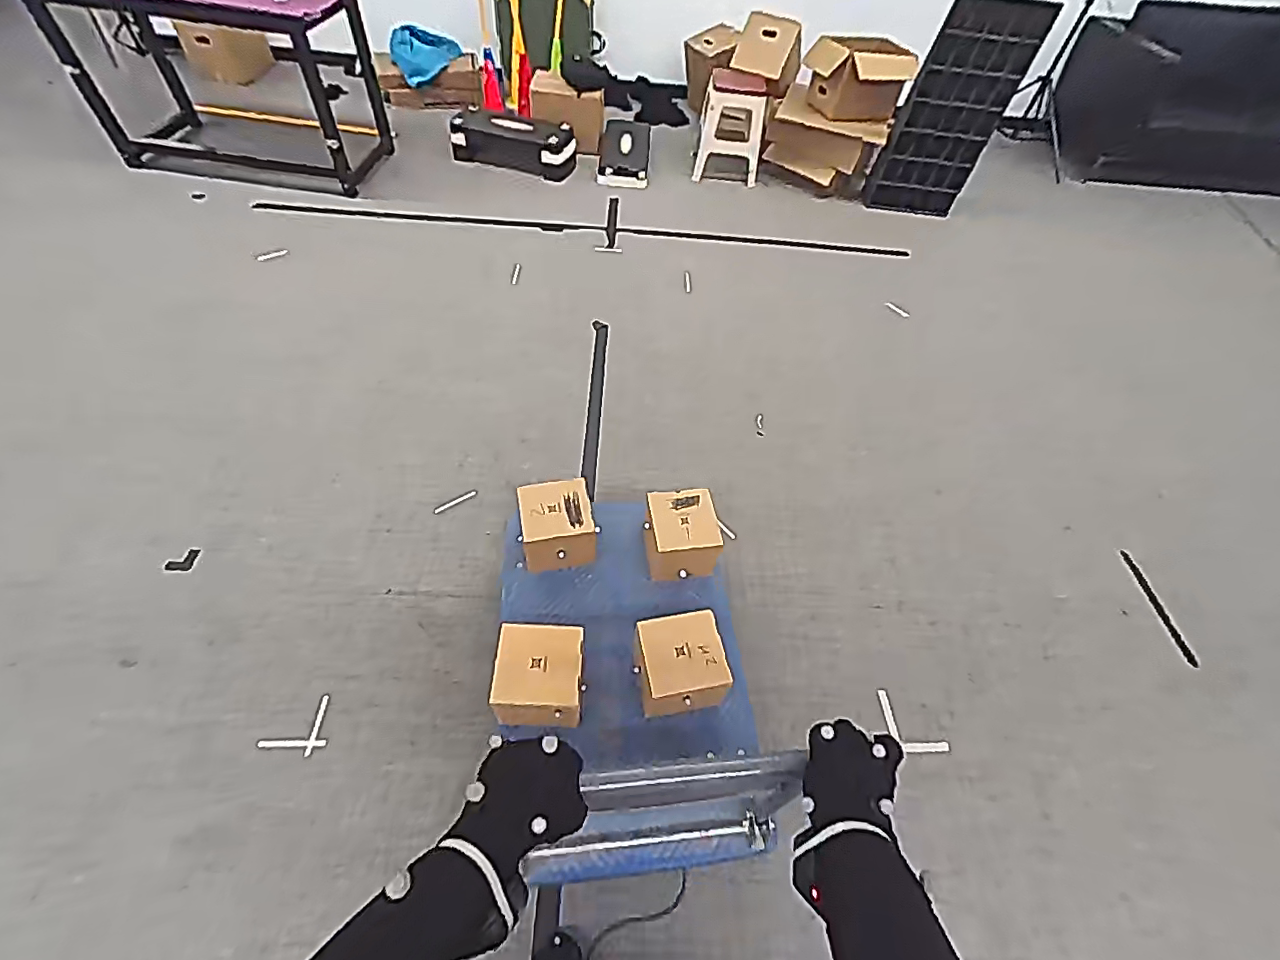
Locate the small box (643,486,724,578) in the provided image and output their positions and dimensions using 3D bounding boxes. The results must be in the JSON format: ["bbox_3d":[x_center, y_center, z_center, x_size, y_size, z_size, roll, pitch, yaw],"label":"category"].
[{"bbox_3d":[0.105,0.136,1.415,0.168,0.176,0.179,-4,55,-9],"label":"small box"}]

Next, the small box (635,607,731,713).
[{"bbox_3d":[0.086,0.406,1.210,0.179,0.176,0.168,-7,54,-10],"label":"small box"}]

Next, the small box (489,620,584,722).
[{"bbox_3d":[-0.216,0.417,1.172,0.179,0.176,0.168,4,52,-5],"label":"small box"}]
